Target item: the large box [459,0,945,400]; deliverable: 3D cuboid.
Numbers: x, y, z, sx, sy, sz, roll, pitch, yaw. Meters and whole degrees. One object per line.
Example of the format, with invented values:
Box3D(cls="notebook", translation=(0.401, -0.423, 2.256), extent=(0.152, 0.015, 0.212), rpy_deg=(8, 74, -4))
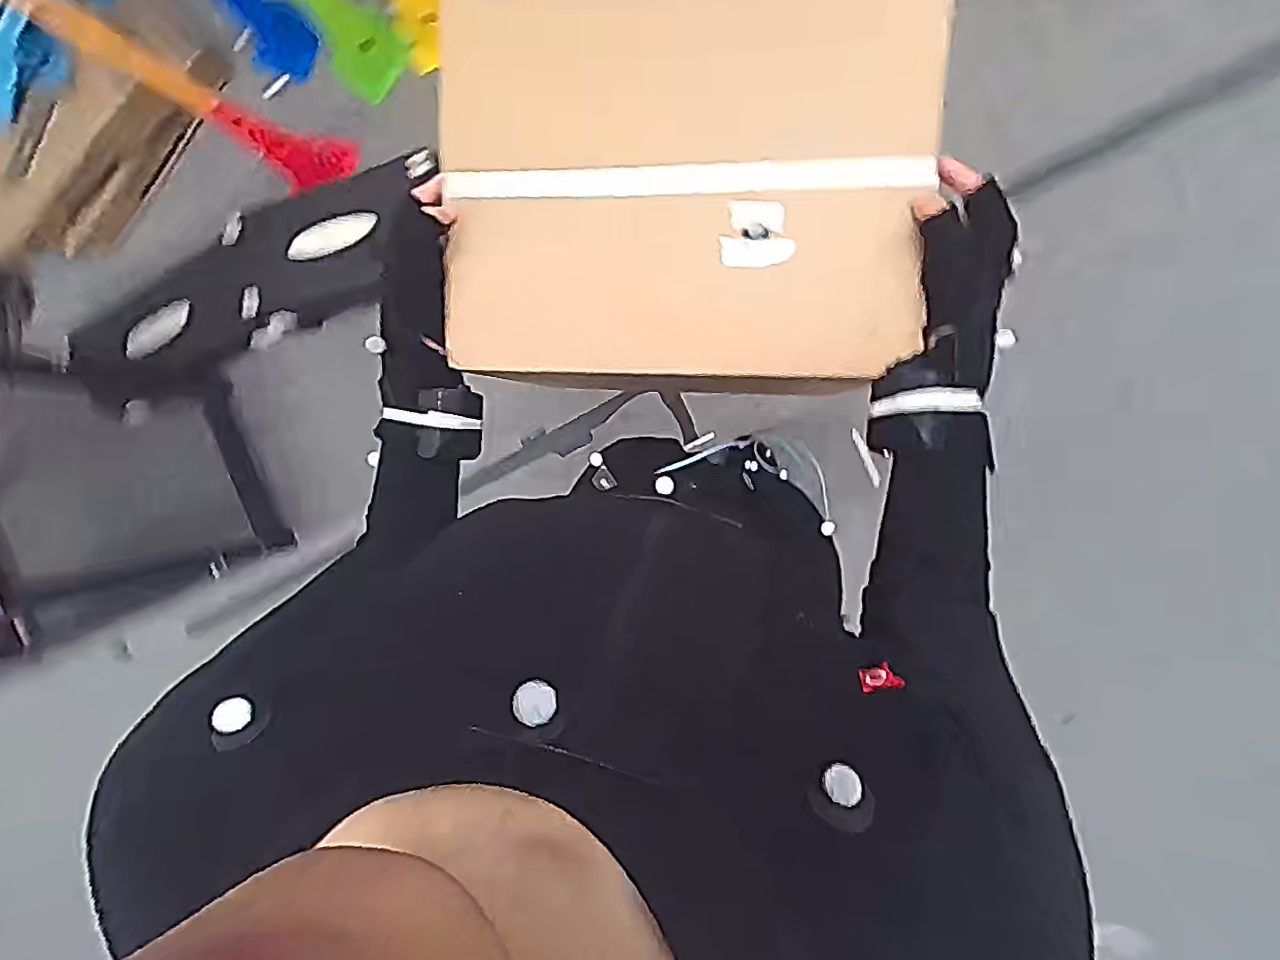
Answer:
Box3D(cls="large box", translation=(0.051, -0.256, 0.607), extent=(0.408, 0.320, 0.320), rpy_deg=(4, 98, 6))
